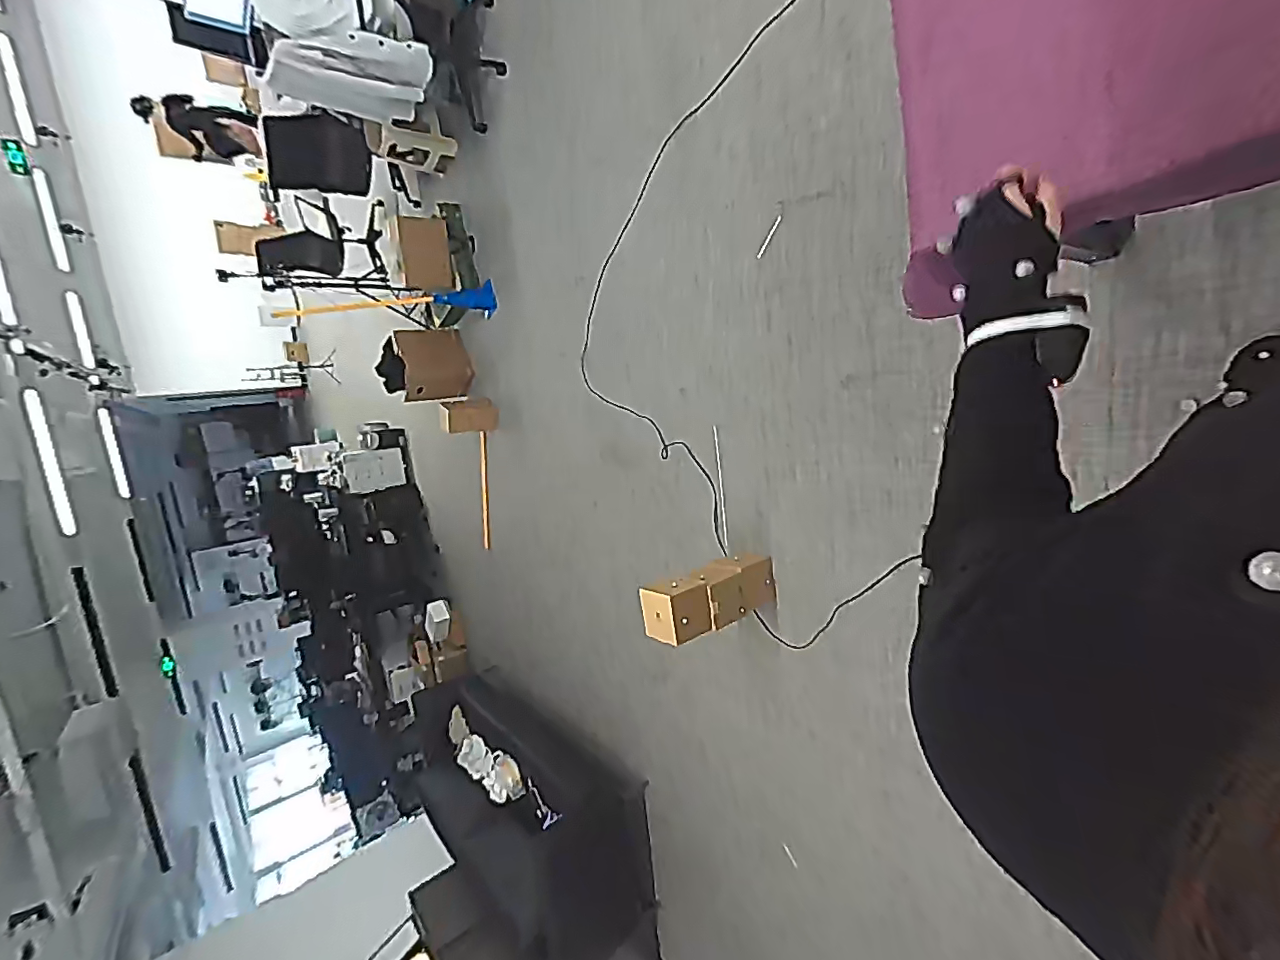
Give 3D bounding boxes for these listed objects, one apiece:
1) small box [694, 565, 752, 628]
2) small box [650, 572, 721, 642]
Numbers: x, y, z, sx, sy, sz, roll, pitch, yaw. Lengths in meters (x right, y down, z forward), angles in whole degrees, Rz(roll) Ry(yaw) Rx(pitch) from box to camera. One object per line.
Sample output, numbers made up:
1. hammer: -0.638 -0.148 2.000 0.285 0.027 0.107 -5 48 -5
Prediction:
1. small box: 0.293 0.414 1.965 0.179 0.176 0.168 1 101 54
2. small box: 0.158 0.432 1.873 0.168 0.176 0.179 1 103 54
